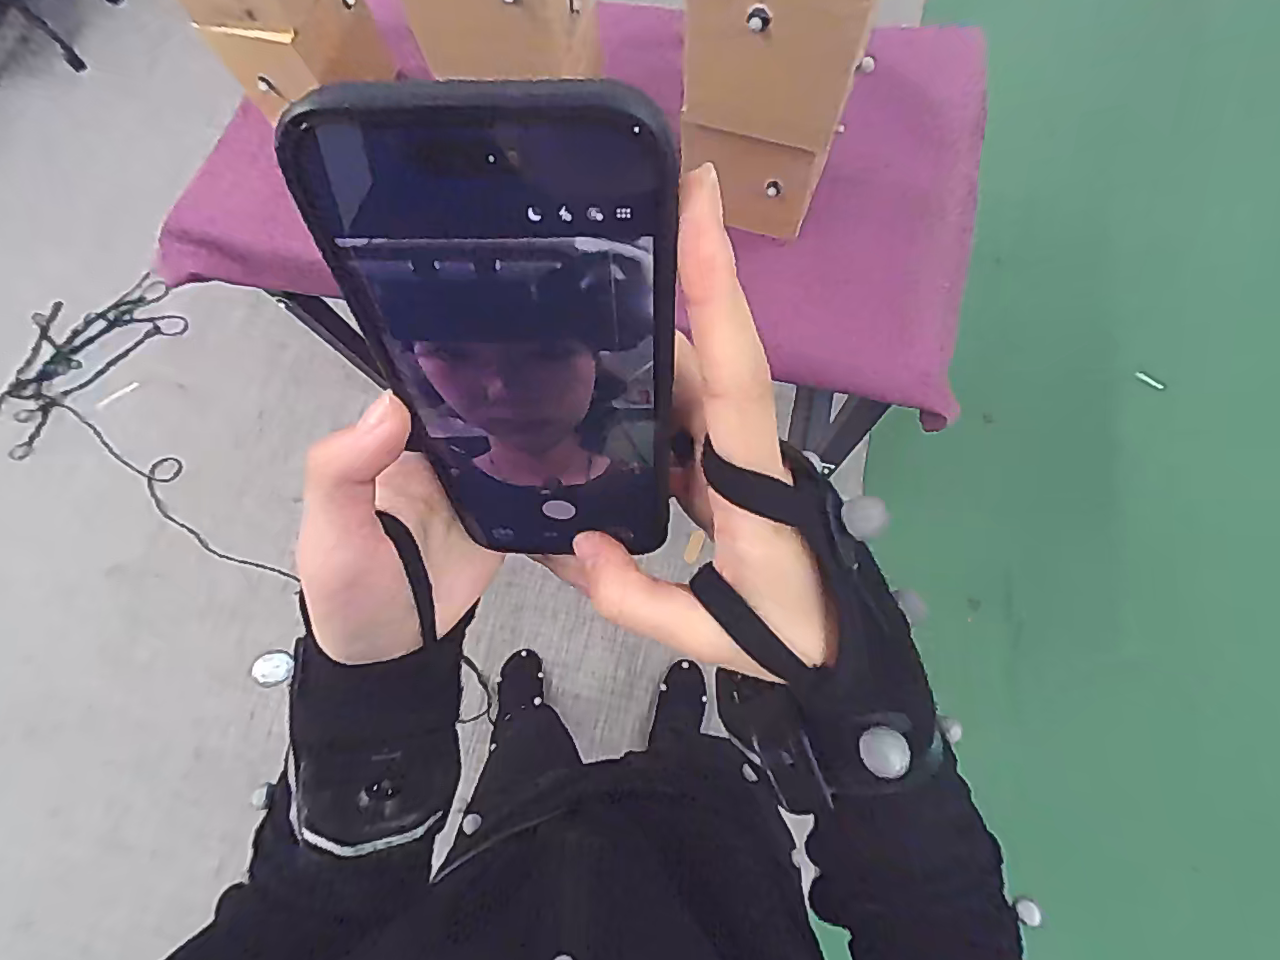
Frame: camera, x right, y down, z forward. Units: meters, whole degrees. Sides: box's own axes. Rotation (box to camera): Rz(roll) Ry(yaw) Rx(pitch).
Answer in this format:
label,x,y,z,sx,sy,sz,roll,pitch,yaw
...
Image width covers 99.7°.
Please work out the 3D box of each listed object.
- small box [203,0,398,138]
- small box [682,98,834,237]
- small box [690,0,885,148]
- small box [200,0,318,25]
label,x,y,z,sx,sy,sz,roll,pitch,yaw
small box,-0.519,-0.687,0.858,0.168,0.176,0.179,16,75,9
small box,0.168,-0.466,0.740,0.179,0.176,0.168,21,76,11
small box,0.160,-0.497,0.578,0.179,0.176,0.168,21,76,10
small box,-0.529,-0.742,0.703,0.168,0.176,0.179,11,75,7
